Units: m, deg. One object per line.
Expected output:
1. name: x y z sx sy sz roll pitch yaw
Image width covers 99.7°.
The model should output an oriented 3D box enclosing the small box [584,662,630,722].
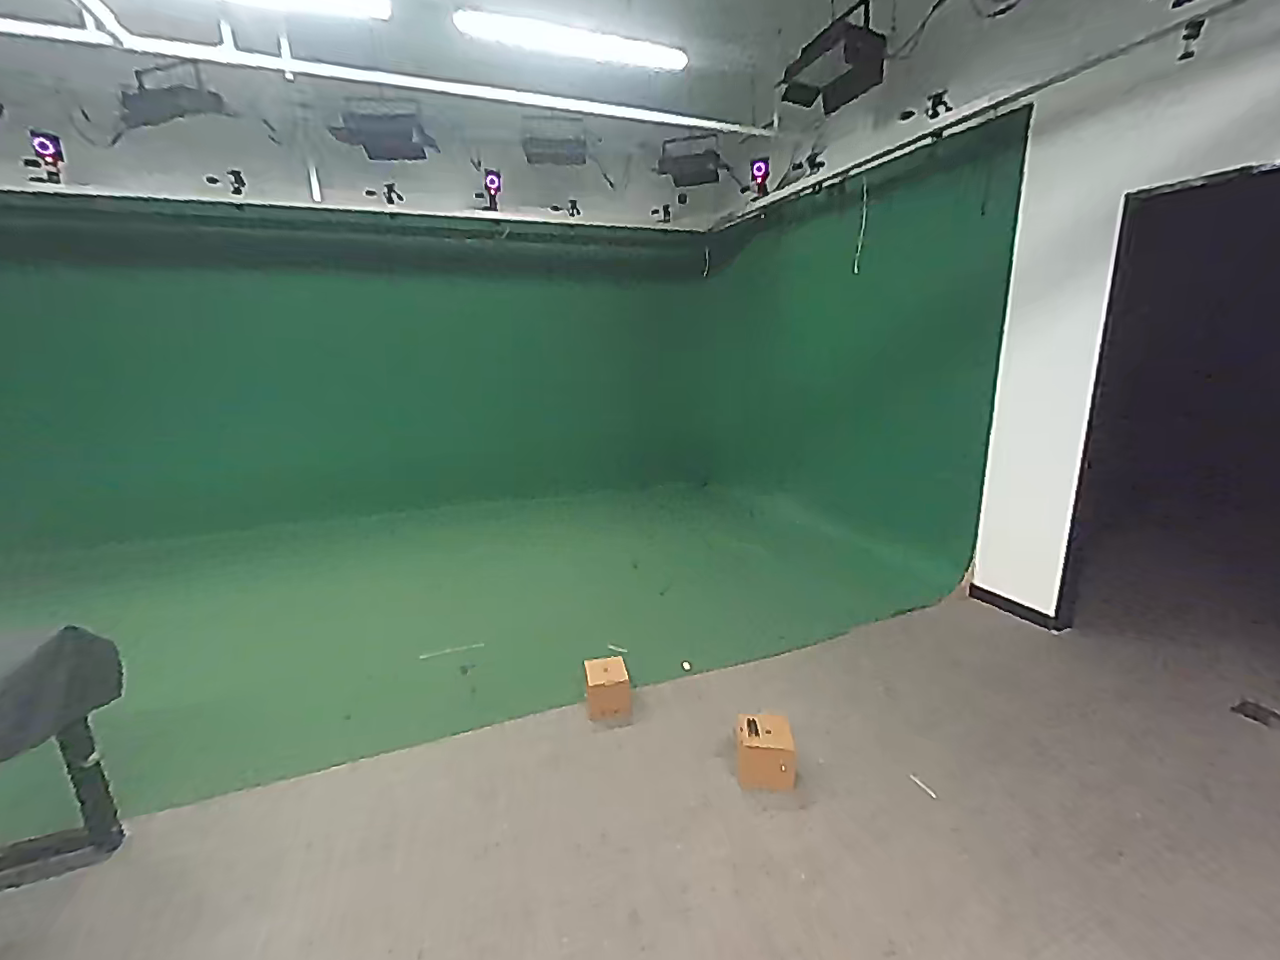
1. small box: -0.138 0.885 2.246 0.168 0.176 0.179 -3 13 -13
